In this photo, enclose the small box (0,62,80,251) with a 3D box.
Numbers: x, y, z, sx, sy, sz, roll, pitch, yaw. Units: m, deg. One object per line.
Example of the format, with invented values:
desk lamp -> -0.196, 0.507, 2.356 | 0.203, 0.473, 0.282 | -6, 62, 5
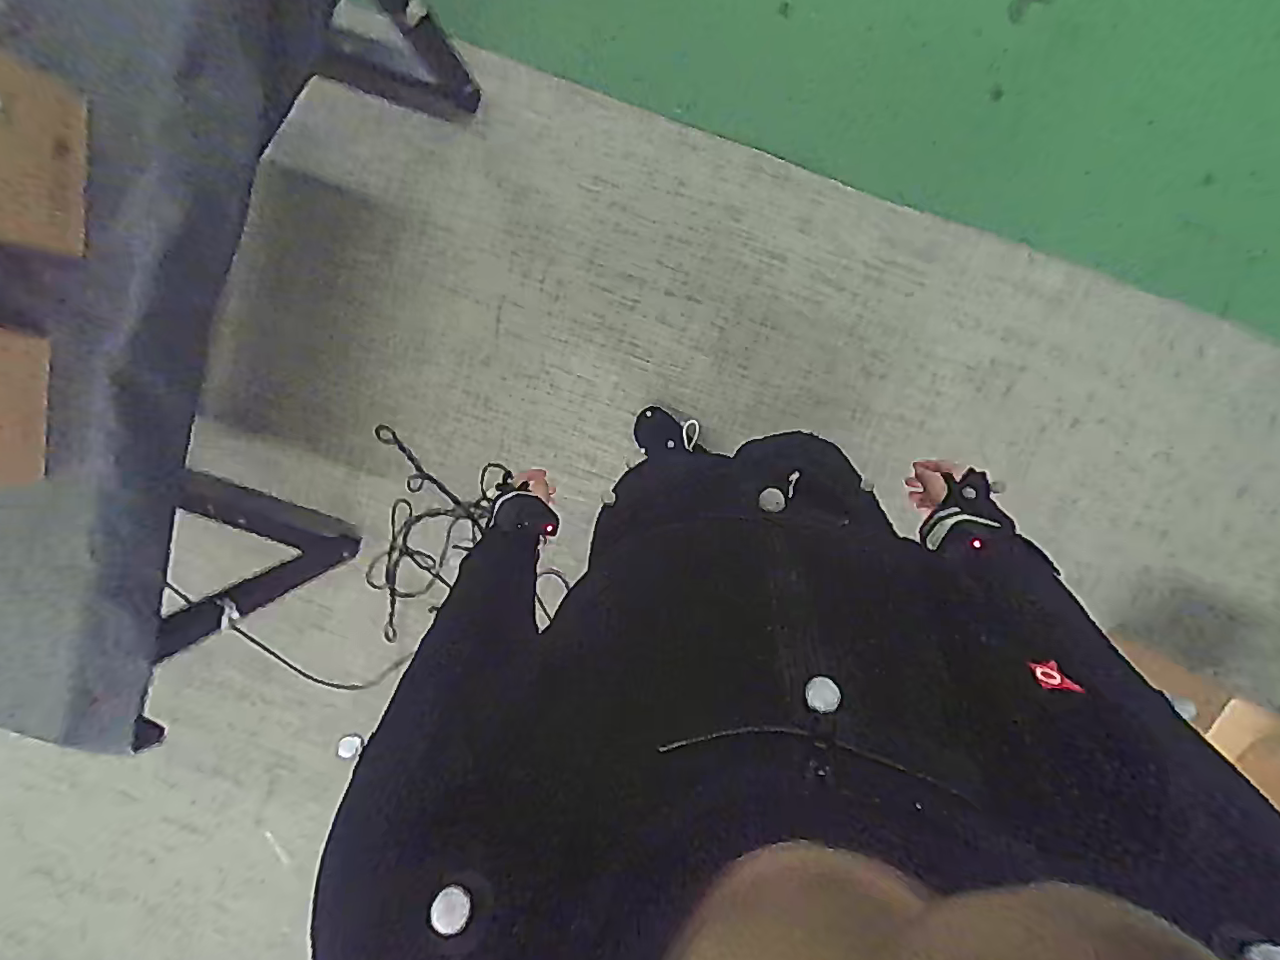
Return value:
small box -> -0.695, -0.331, 0.511 | 0.179, 0.176, 0.168 | 12, 99, 2
